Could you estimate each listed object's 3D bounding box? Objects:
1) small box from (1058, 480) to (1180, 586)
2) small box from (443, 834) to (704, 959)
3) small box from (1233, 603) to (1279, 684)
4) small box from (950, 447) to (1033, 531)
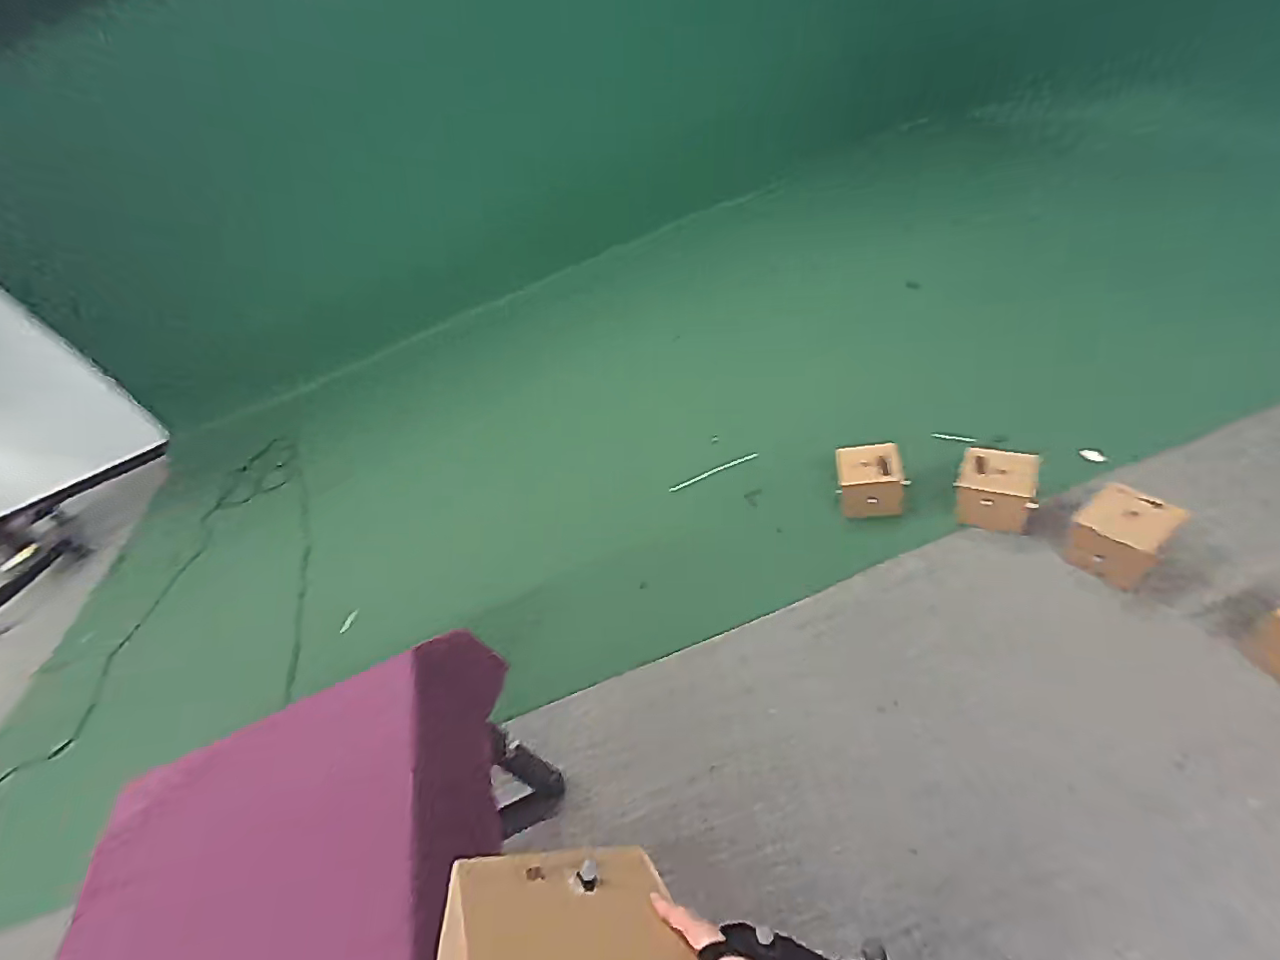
[{"bbox_3d":[1.226,0.141,1.400,0.179,0.176,0.168,-36,44,-12],"label":"small box"},{"bbox_3d":[-0.053,0.395,0.389,0.176,0.168,0.179,-175,97,-69],"label":"small box"},{"bbox_3d":[1.416,0.342,1.113,0.168,0.176,0.179,-24,43,0],"label":"small box"},{"bbox_3d":[1.033,0.028,1.599,0.179,0.176,0.168,12,54,32],"label":"small box"}]
